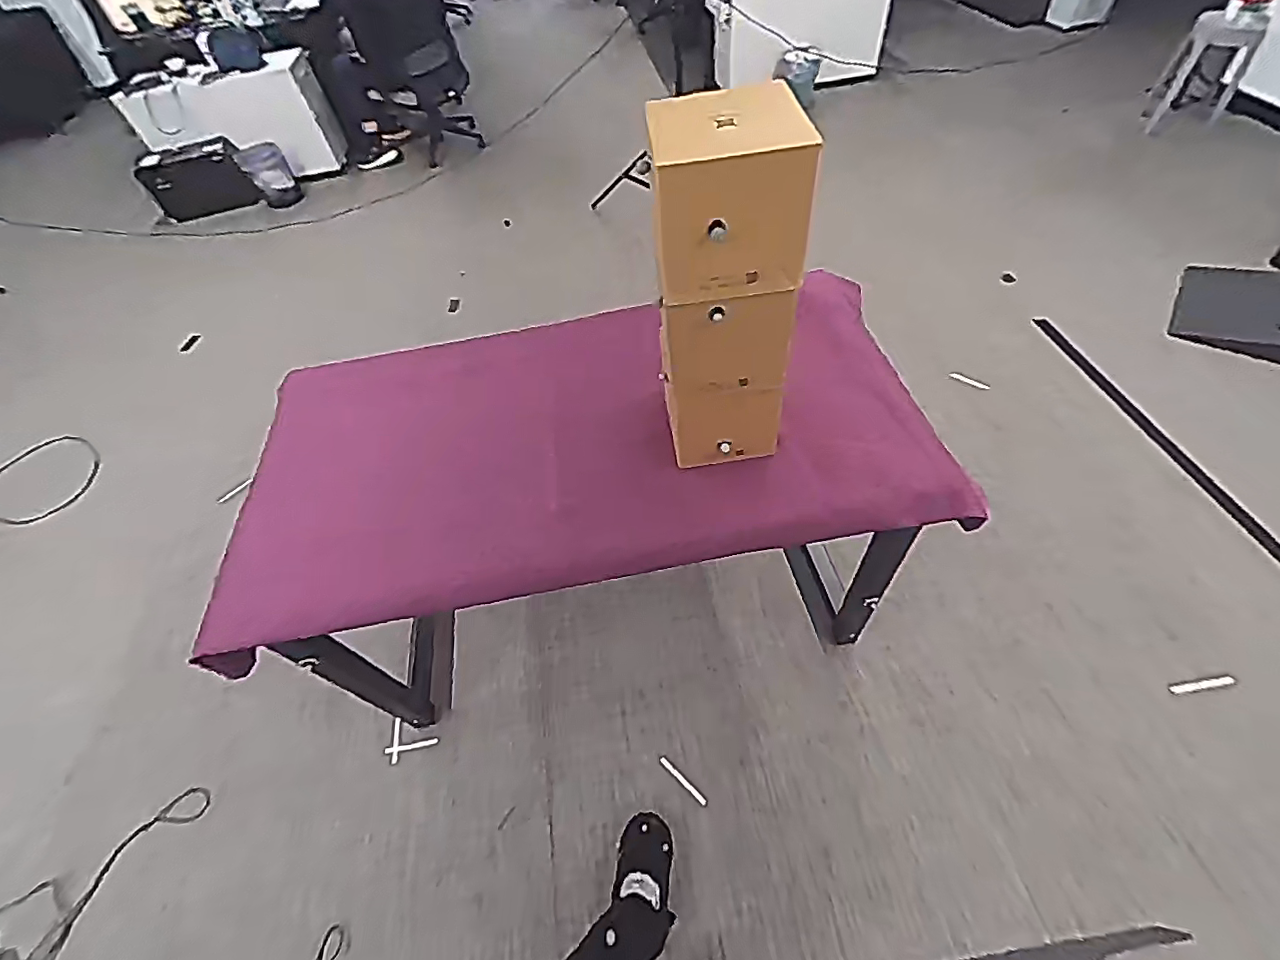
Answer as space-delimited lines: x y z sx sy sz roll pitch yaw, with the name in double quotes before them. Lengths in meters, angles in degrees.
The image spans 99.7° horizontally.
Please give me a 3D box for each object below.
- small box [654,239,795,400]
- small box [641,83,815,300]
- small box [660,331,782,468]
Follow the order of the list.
"small box" 0.112 -0.239 0.777 0.168 0.176 0.179 -7 52 3
"small box" 0.097 -0.332 0.643 0.168 0.176 0.179 -8 52 2
"small box" 0.129 -0.145 0.910 0.168 0.176 0.179 -9 53 1
